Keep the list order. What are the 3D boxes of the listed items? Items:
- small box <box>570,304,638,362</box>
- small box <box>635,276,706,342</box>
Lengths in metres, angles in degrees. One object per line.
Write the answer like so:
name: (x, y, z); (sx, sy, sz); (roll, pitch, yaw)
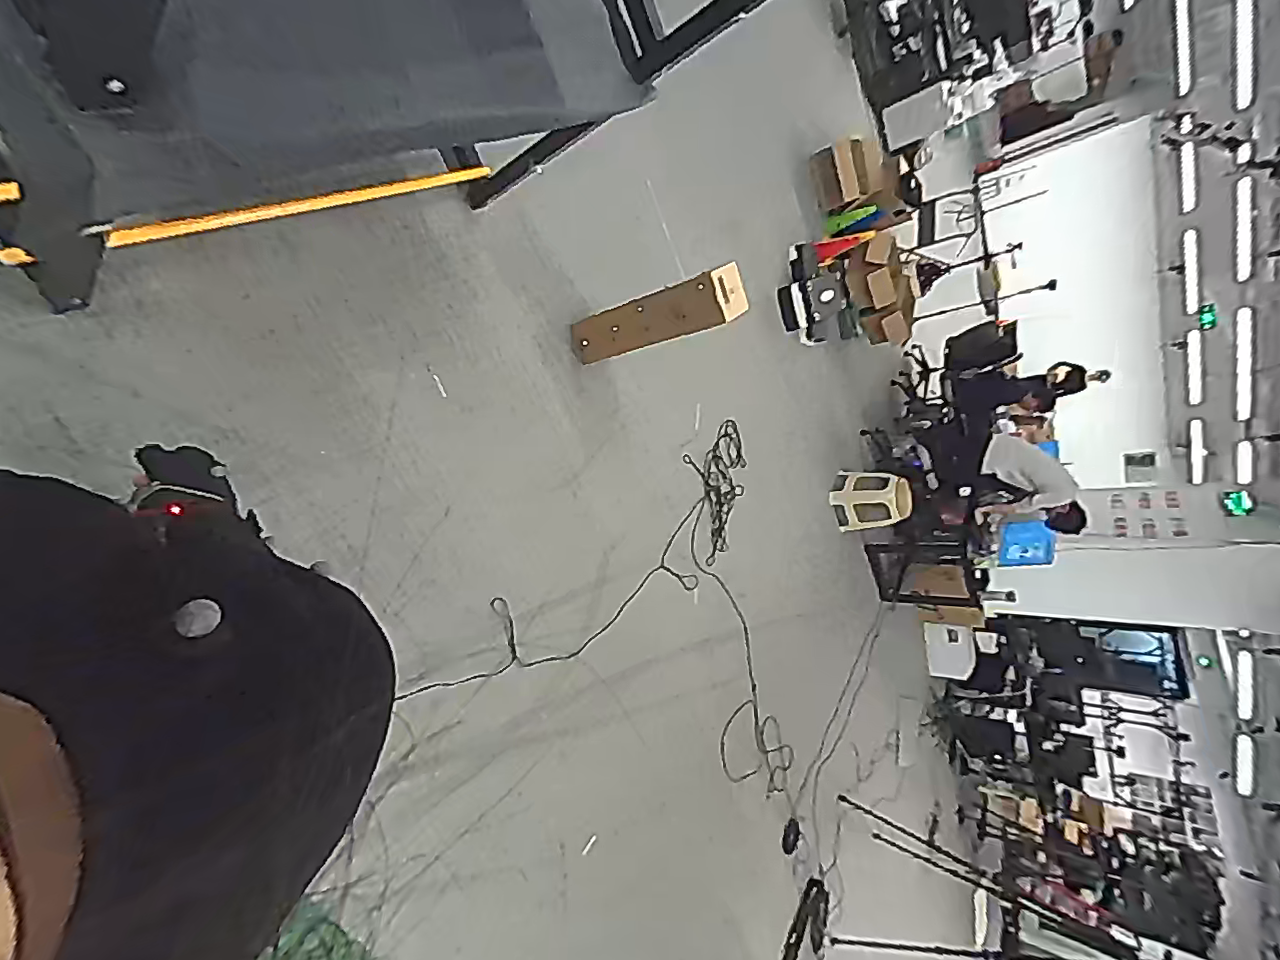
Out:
small box: (-0.144, -0.579, 2.131); (0.179, 0.176, 0.168); (-37, 113, -44)
small box: (0.102, -0.604, 1.918); (0.179, 0.176, 0.168); (-40, 116, -44)
